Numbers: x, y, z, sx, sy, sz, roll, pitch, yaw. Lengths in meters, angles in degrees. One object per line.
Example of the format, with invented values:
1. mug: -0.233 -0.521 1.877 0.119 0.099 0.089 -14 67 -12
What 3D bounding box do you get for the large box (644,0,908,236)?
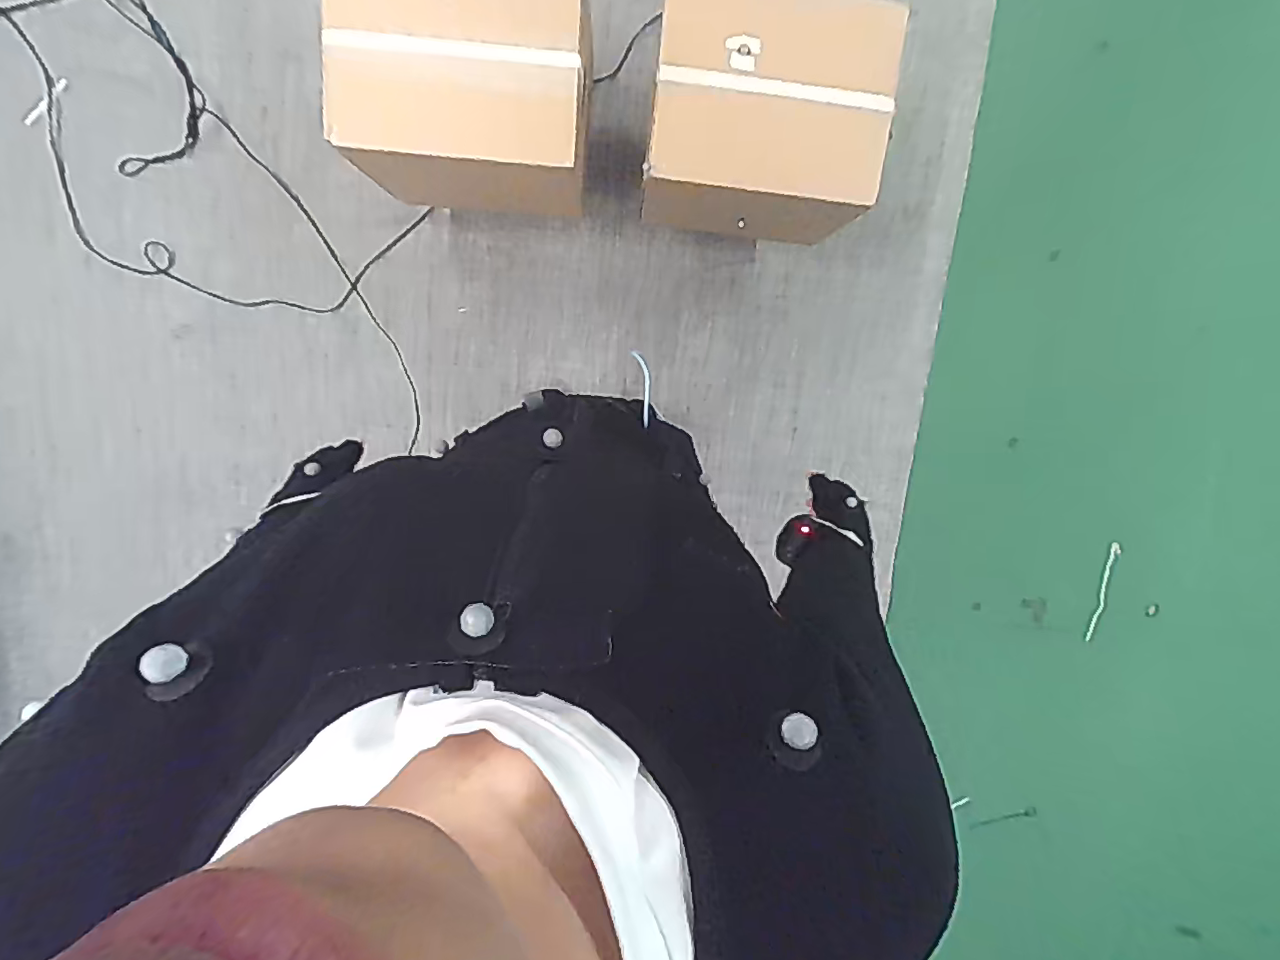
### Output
1. large box: 0.229 -0.691 1.058 0.408 0.320 0.320 6 101 -4
